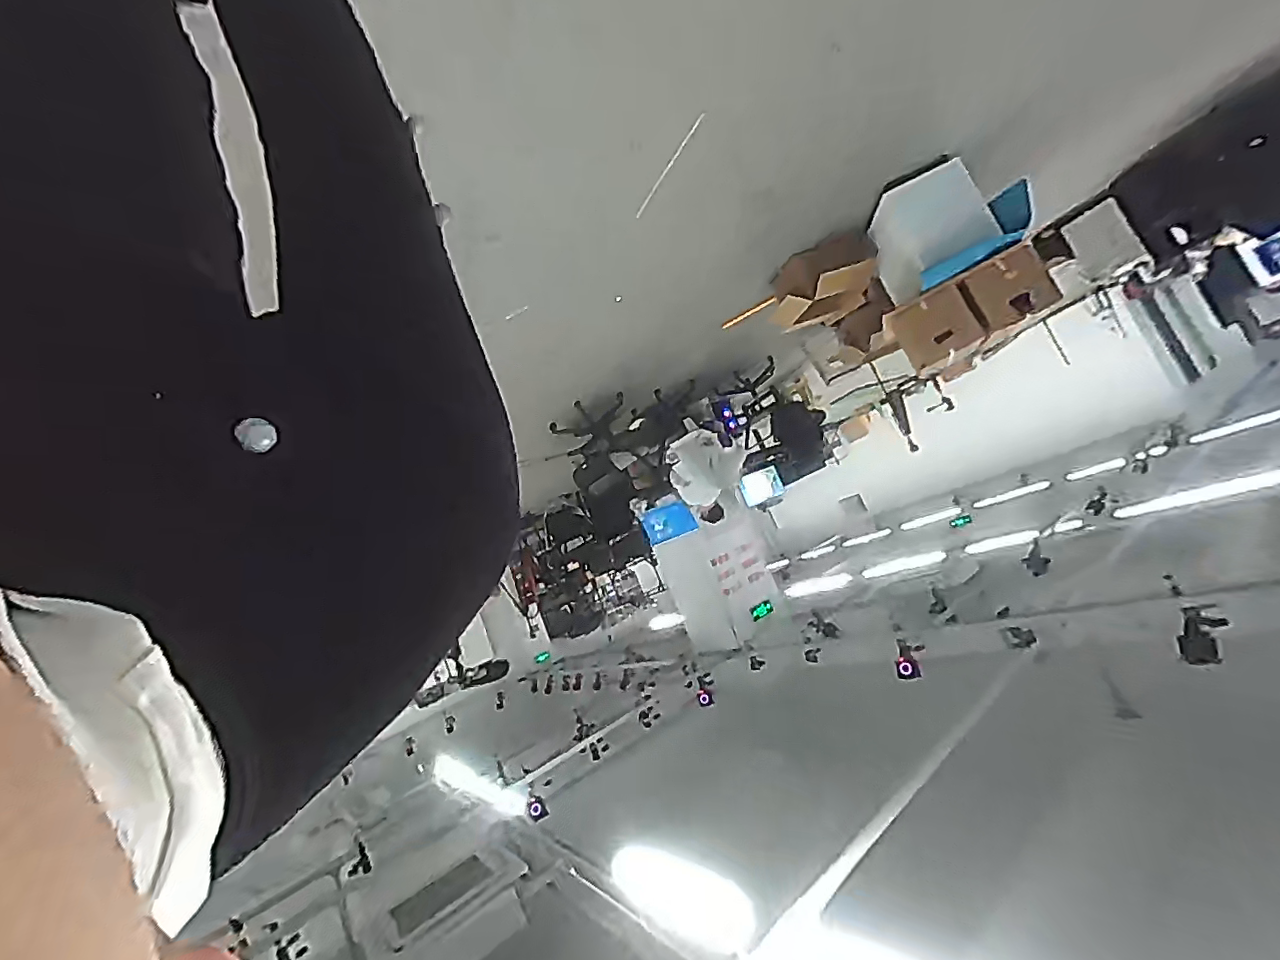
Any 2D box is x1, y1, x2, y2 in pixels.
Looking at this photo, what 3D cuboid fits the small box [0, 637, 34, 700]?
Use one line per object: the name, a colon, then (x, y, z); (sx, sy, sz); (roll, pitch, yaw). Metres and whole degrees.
small box: (-2.011, 0.591, 1.644); (0.168, 0.176, 0.179); (-18, 170, -34)
